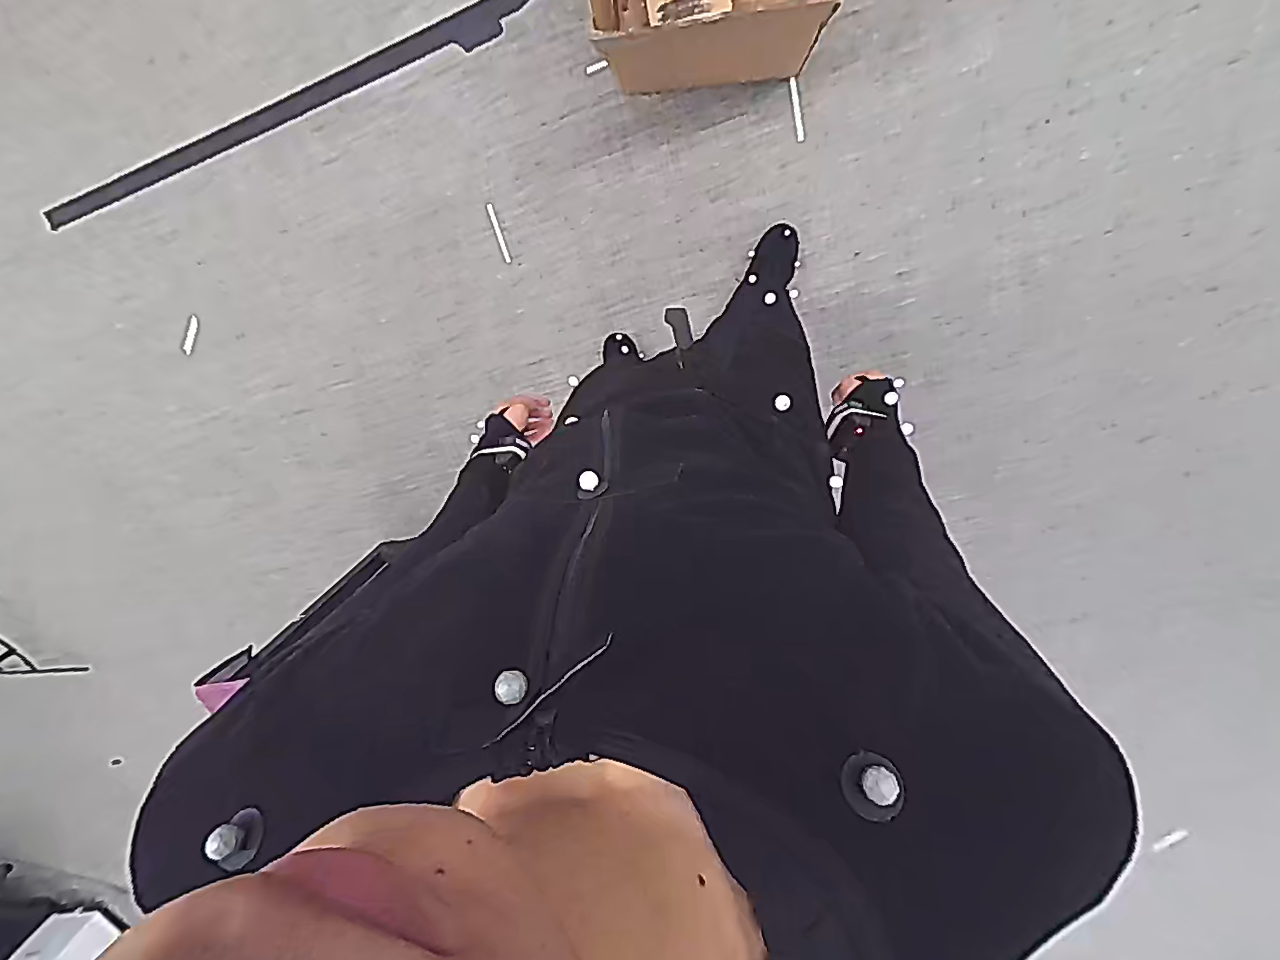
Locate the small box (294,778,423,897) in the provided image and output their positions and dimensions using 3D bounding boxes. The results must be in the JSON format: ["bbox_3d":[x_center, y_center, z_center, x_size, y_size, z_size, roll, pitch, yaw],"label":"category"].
[{"bbox_3d":[-0.659,0.846,1.286,0.179,0.176,0.168,-18,111,15],"label":"small box"}]
